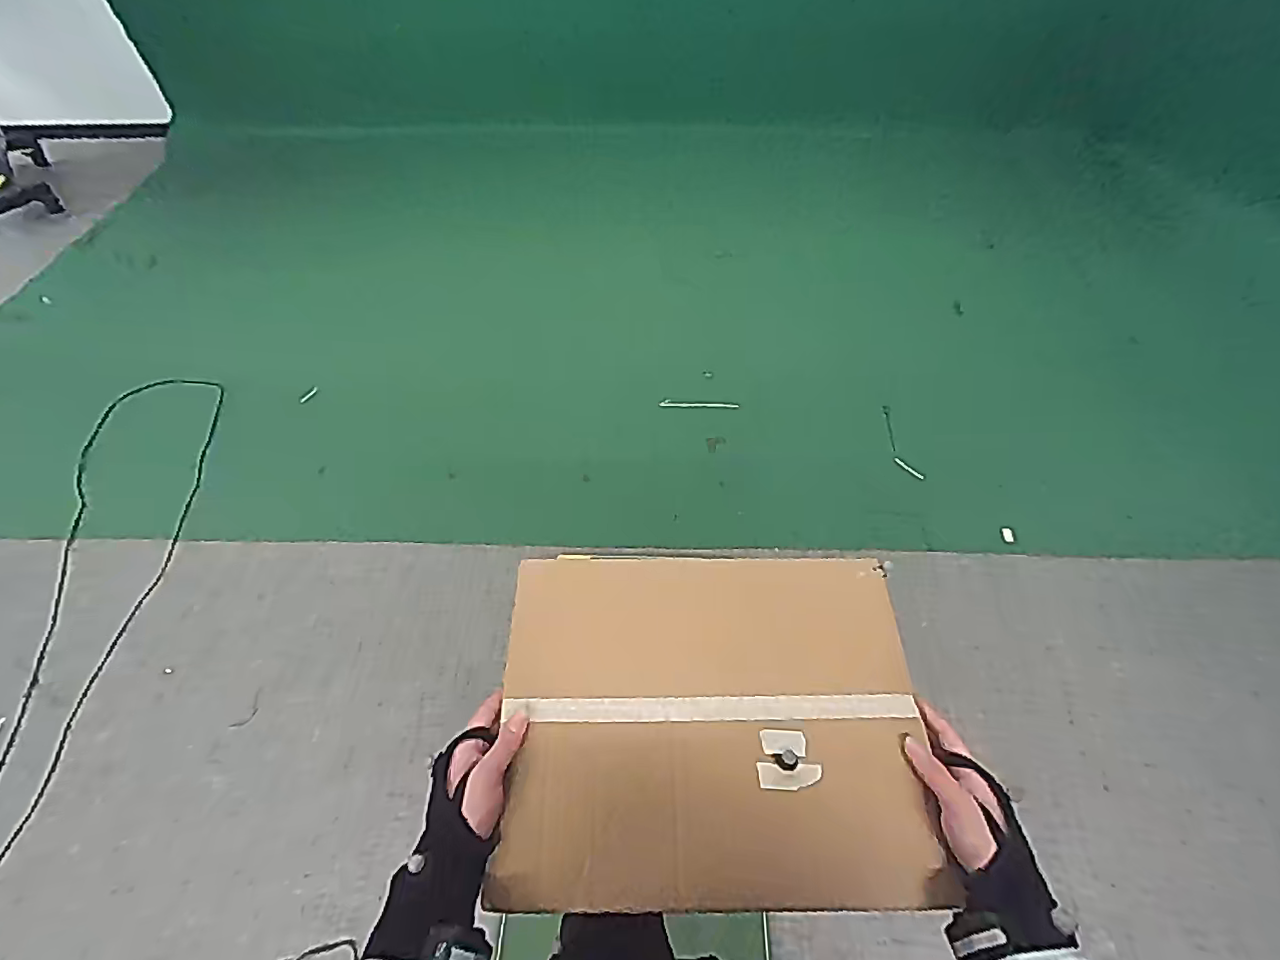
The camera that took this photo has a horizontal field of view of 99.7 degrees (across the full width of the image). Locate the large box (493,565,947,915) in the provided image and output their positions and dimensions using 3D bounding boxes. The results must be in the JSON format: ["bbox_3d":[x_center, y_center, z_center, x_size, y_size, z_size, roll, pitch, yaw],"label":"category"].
[{"bbox_3d":[0.064,0.310,0.666,0.408,0.320,0.320,0,59,-1],"label":"large box"}]
